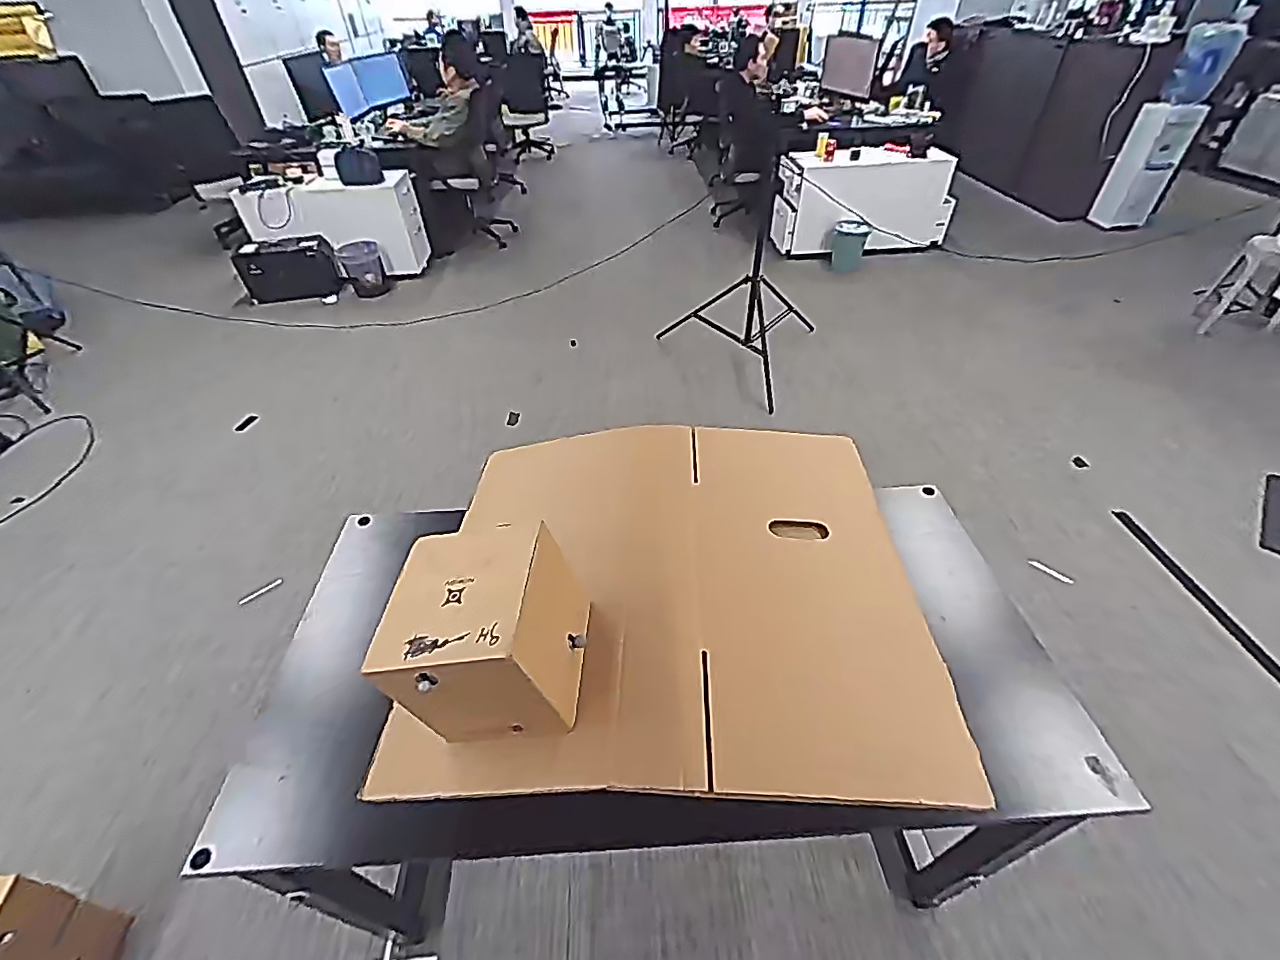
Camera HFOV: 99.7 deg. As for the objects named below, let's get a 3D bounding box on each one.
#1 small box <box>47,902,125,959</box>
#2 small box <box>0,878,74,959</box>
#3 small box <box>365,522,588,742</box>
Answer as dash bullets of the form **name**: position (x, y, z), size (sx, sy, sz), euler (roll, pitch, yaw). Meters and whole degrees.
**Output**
- **small box**: position (-1.208, 0.987, 1.090), size (0.168, 0.176, 0.179), euler (-6, 43, -4)
- **small box**: position (-1.214, 0.864, 0.984), size (0.168, 0.176, 0.179), euler (-7, 42, -7)
- **small box**: position (-0.167, 0.177, 0.625), size (0.168, 0.176, 0.179), euler (-11, 41, 13)
